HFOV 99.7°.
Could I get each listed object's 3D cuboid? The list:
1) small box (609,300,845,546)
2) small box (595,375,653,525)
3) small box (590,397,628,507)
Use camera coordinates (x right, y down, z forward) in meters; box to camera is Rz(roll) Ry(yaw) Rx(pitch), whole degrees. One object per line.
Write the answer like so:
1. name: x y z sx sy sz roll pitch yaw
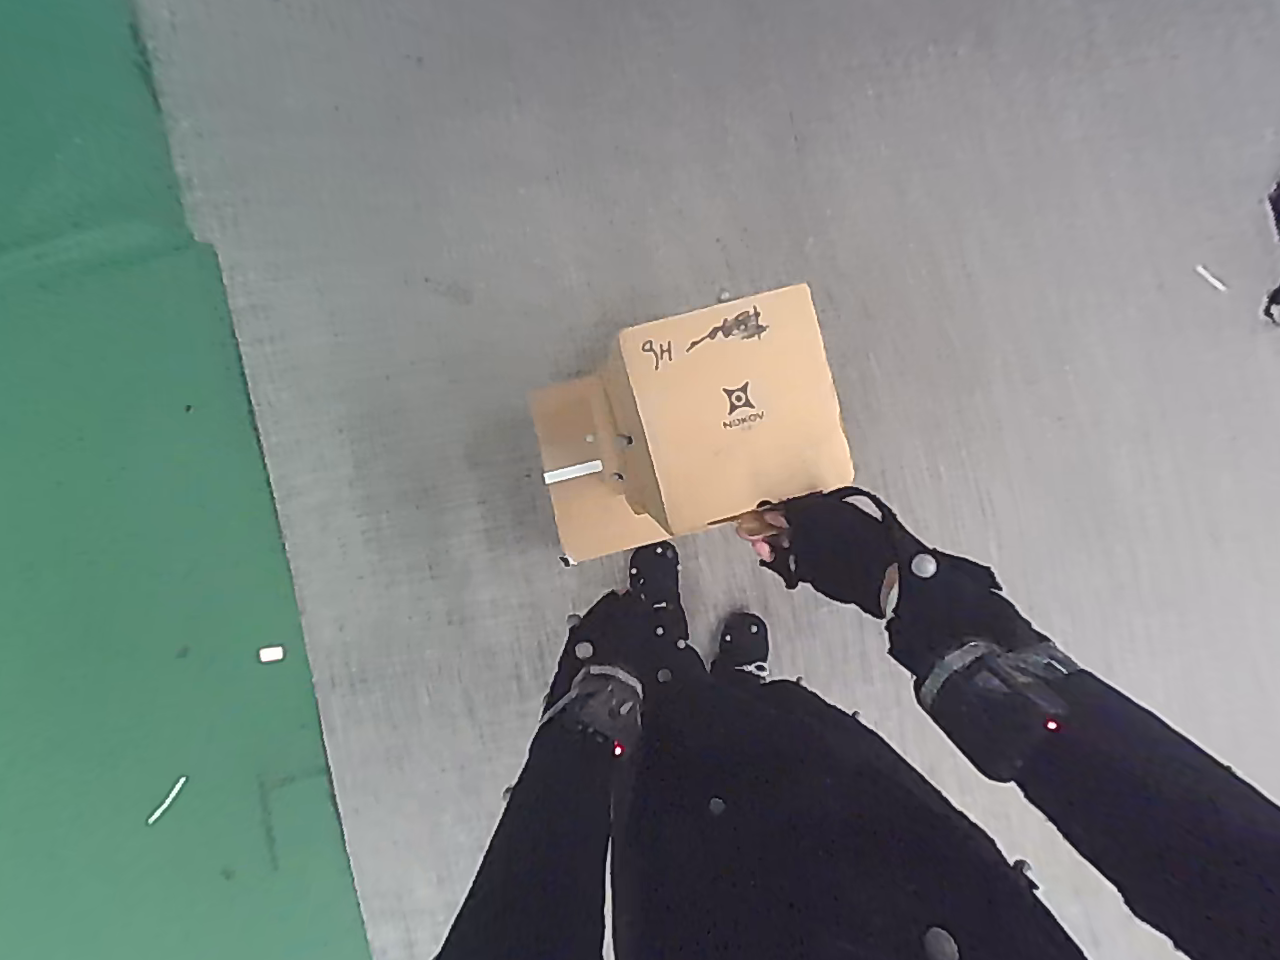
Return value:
1. small box: 0.071 -0.053 0.531 0.168 0.176 0.179 -16 95 -5
2. small box: 0.044 -0.058 0.694 0.168 0.176 0.179 -17 94 -5
3. small box: 0.023 -0.066 0.856 0.179 0.176 0.168 -14 96 -4
